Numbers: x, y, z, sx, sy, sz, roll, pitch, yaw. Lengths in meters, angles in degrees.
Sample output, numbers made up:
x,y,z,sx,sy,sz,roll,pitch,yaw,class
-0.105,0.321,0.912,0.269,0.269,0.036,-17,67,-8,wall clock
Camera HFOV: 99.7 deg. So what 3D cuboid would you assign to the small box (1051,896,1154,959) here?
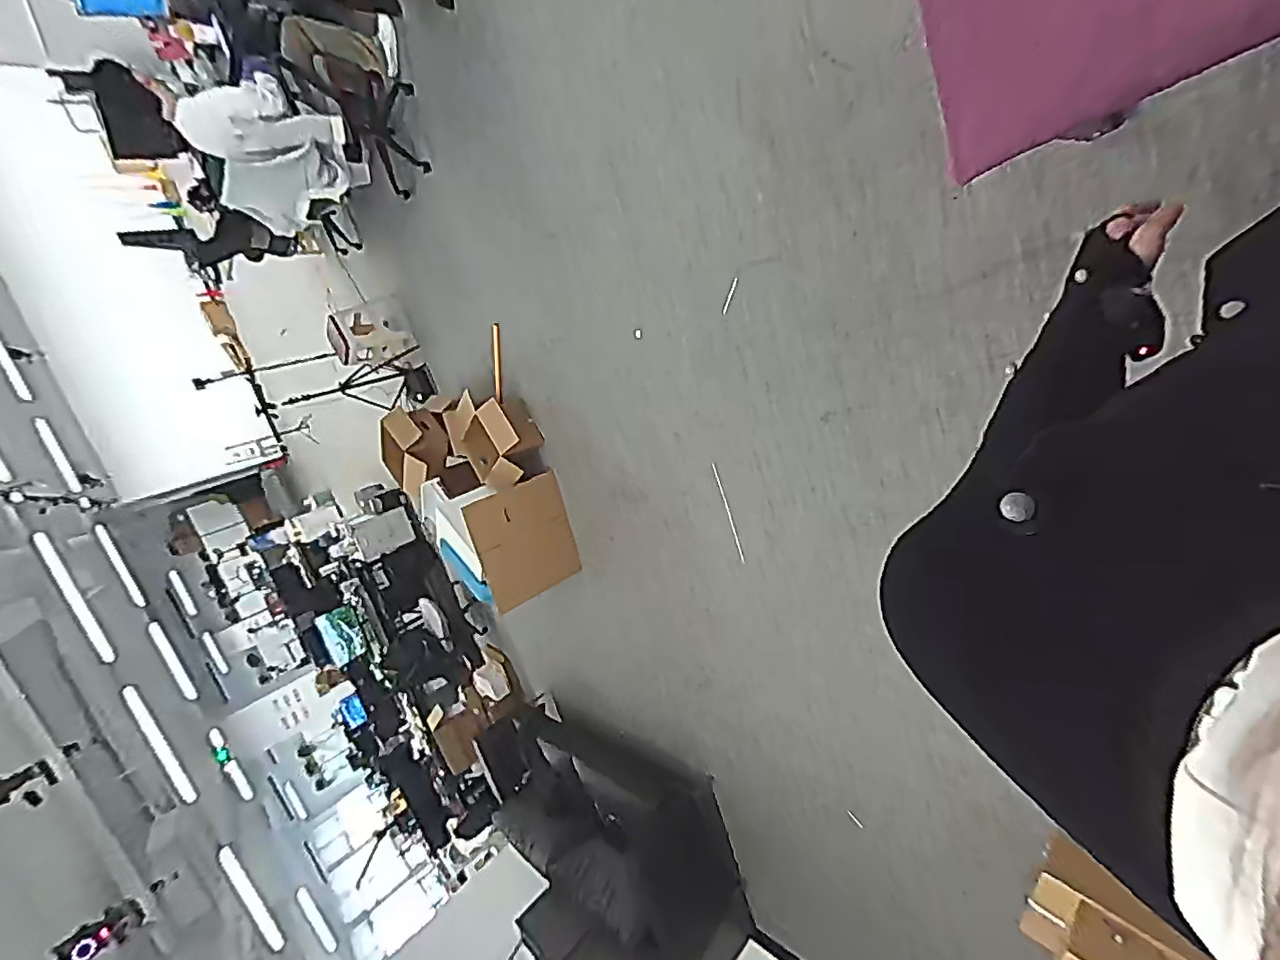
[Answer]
x,y,z,sx,sy,sz,roll,pitch,yaw,class
1.217,1.269,1.427,0.168,0.176,0.179,22,126,41,small box
